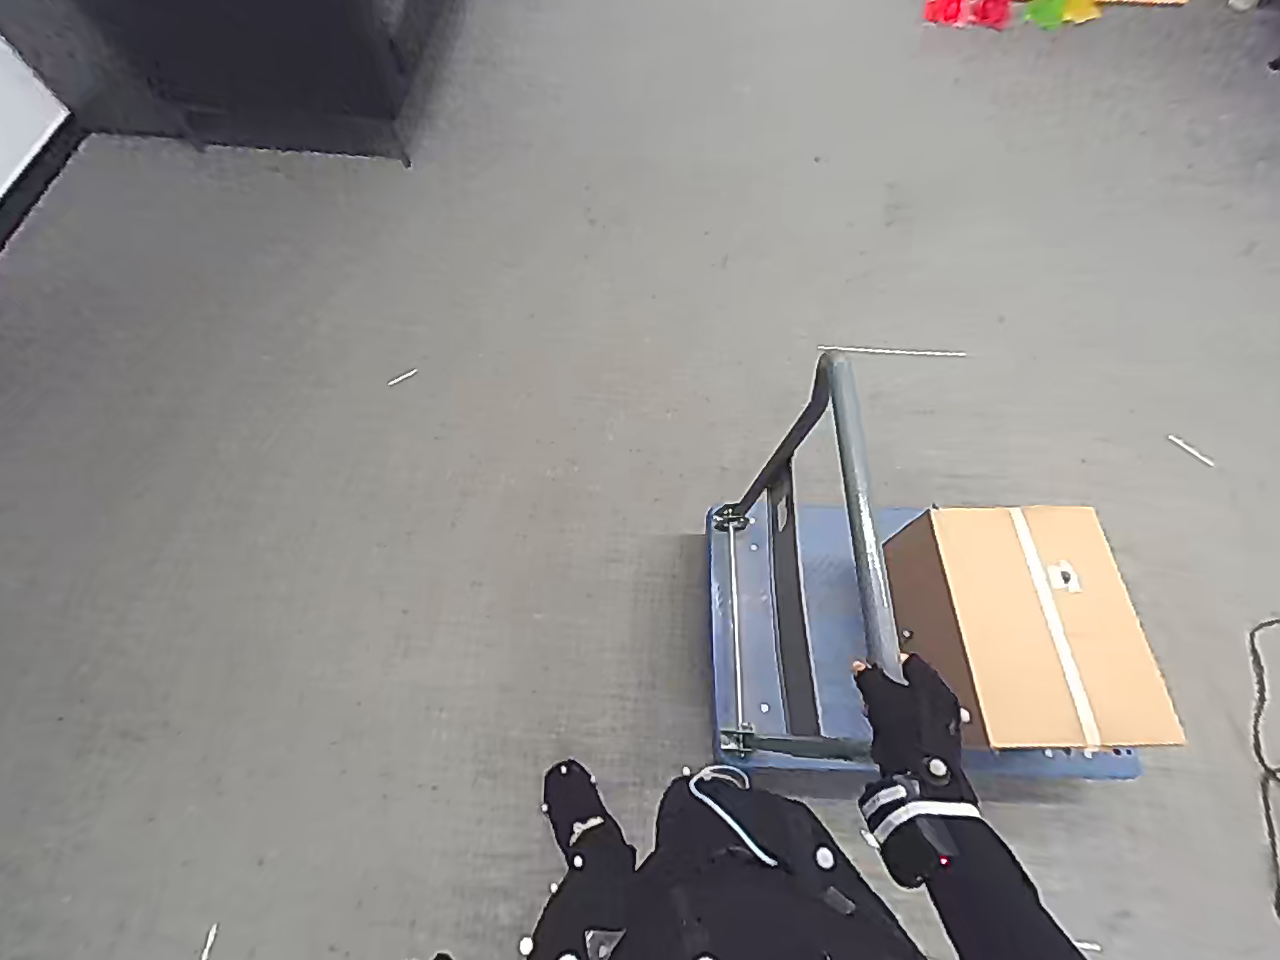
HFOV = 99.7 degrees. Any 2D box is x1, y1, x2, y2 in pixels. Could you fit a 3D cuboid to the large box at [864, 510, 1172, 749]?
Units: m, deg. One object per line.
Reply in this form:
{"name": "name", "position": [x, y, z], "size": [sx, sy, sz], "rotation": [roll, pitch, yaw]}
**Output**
{"name": "large box", "position": [0.686, 0.304, 1.072], "size": [0.320, 0.320, 0.408], "rotation": [0, 63, -1]}
